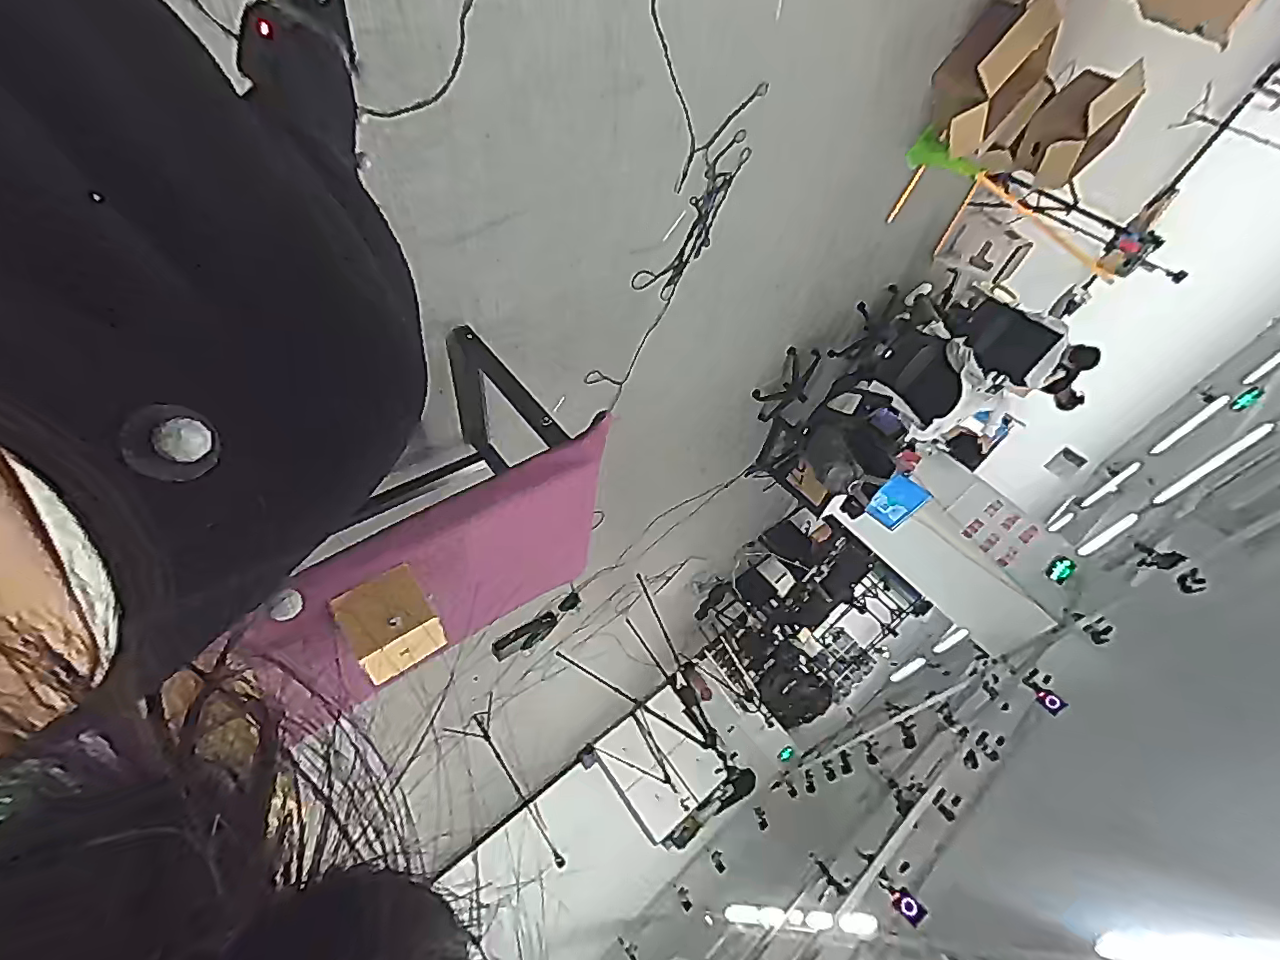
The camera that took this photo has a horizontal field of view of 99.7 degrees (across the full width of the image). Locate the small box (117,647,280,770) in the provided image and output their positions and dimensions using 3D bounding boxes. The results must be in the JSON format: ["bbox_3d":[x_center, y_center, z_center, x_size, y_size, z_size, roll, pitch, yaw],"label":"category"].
[{"bbox_3d":[-0.852,0.459,1.051,0.179,0.176,0.168,-30,152,-27],"label":"small box"}]

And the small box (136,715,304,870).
[{"bbox_3d":[-0.745,0.555,0.969,0.168,0.176,0.179,-30,152,-30],"label":"small box"}]

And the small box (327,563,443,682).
[{"bbox_3d":[-0.581,0.322,1.243,0.179,0.176,0.168,-28,152,-29],"label":"small box"}]
